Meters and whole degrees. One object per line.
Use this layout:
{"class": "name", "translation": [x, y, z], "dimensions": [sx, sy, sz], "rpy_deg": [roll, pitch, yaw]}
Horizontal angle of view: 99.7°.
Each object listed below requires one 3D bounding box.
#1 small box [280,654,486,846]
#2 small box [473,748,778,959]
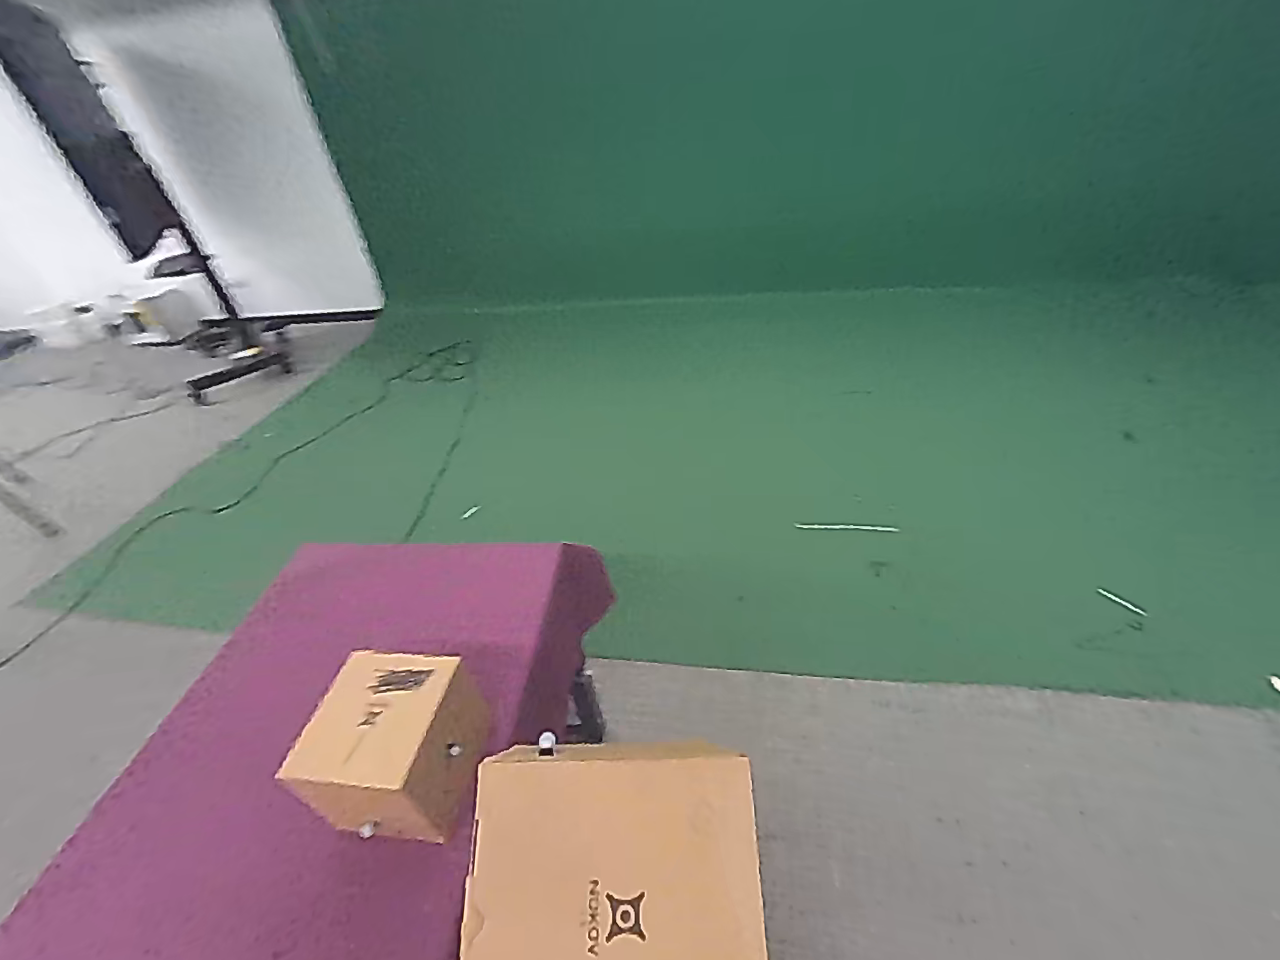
{"class": "small box", "translation": [-0.329, 0.364, 0.739], "dimensions": [0.168, 0.176, 0.179], "rpy_deg": [-1, 39, 11]}
{"class": "small box", "translation": [-0.012, 0.287, 0.384], "dimensions": [0.179, 0.176, 0.168], "rpy_deg": [1, 66, -3]}
